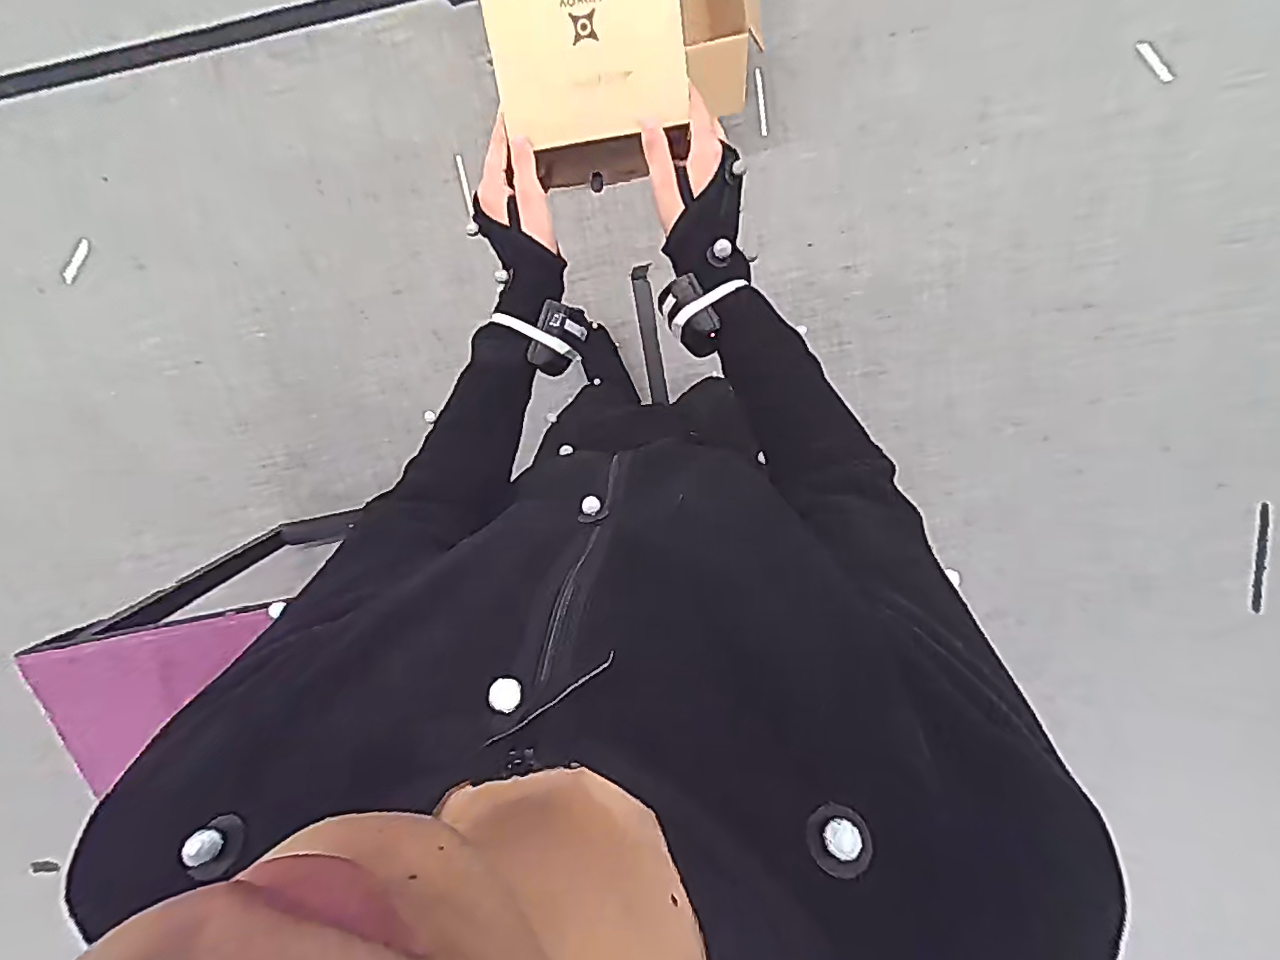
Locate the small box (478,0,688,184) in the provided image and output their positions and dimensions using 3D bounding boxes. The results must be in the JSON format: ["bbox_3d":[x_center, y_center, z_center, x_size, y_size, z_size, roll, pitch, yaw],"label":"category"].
[{"bbox_3d":[-0.048,-0.408,0.517,0.168,0.176,0.179,-7,108,5],"label":"small box"}]
